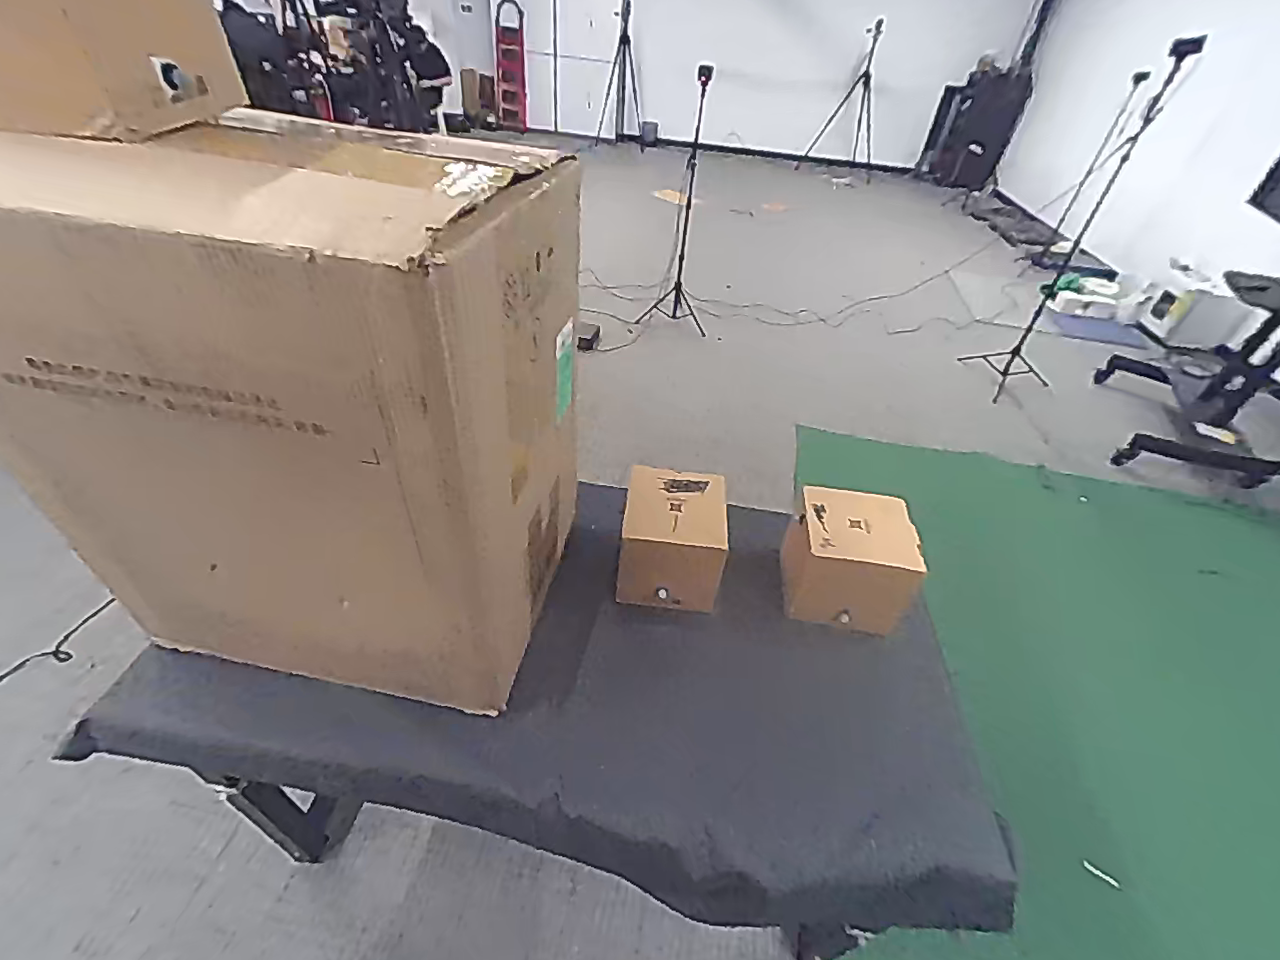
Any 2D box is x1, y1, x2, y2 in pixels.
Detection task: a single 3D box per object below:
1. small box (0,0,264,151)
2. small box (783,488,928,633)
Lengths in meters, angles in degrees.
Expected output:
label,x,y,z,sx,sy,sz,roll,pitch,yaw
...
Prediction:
label,x,y,z,sx,sy,sz,roll,pitch,yaw
small box,-0.483,-0.404,0.468,0.179,0.176,0.168,7,46,0
small box,0.357,0.141,0.934,0.179,0.176,0.168,9,40,4
